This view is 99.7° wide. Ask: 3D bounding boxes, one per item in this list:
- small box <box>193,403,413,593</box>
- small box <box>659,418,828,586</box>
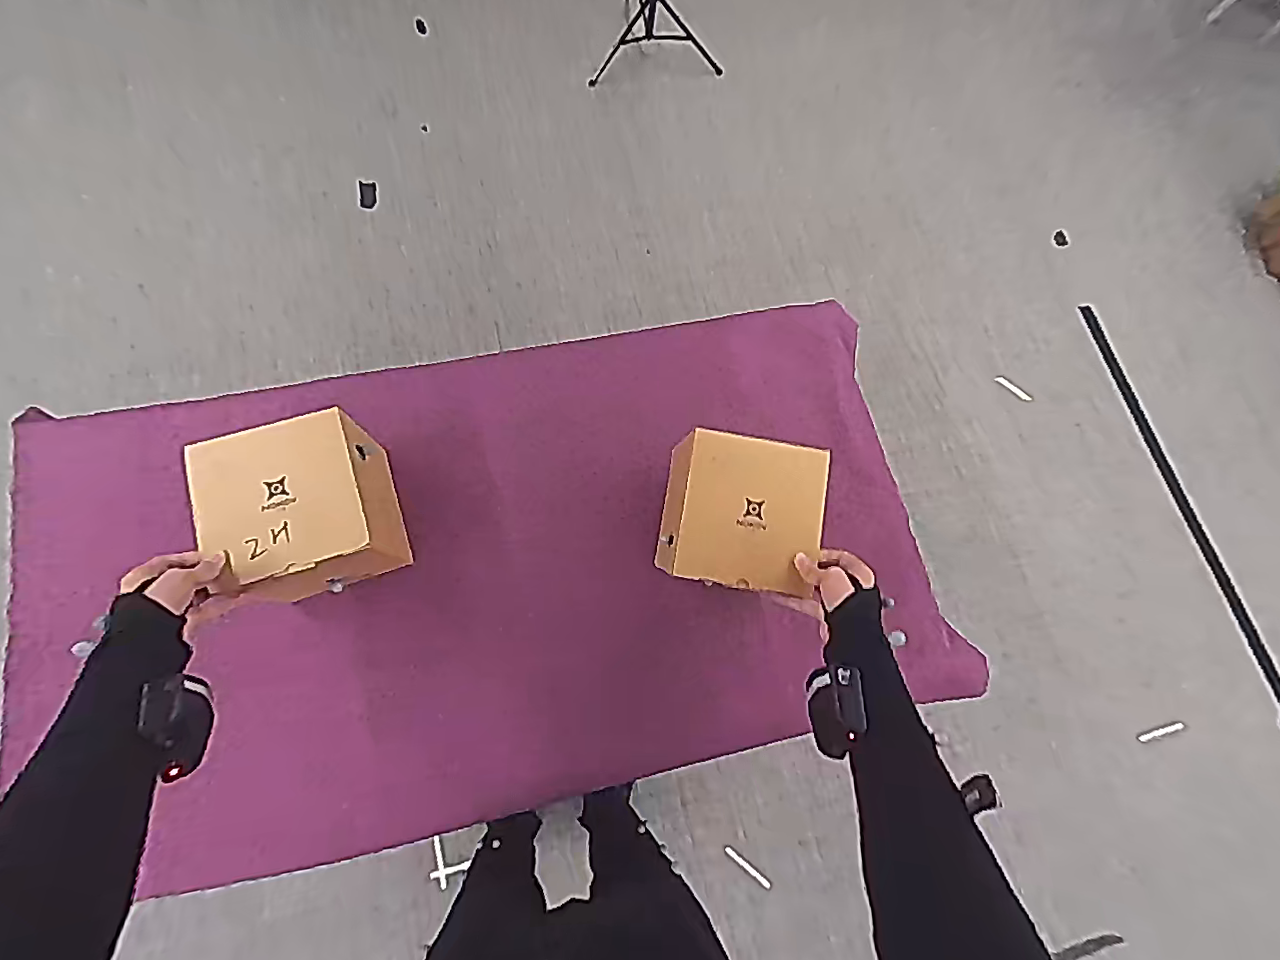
[{"bbox_3d":[-0.406,0.032,0.677,0.168,0.176,0.179,-17,78,-11],"label":"small box"},{"bbox_3d":[0.123,0.031,0.705,0.168,0.176,0.179,9,85,-3],"label":"small box"}]
